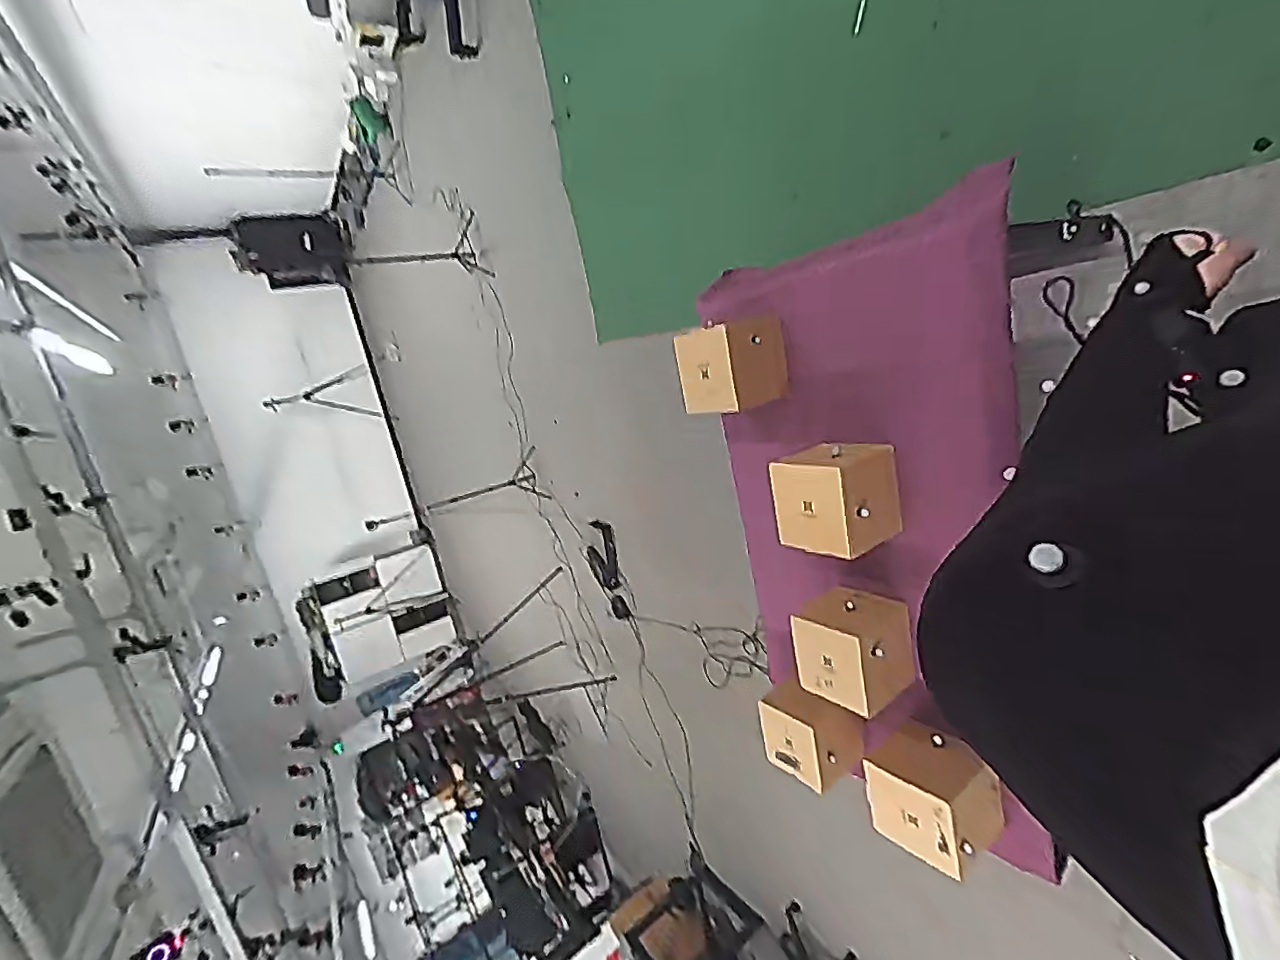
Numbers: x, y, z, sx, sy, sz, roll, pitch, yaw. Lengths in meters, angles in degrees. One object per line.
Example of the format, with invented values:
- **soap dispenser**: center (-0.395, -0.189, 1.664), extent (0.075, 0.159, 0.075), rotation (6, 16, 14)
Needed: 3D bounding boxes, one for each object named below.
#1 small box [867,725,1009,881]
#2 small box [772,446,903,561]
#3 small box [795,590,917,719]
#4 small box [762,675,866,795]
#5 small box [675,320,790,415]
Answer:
- **small box**: center (0.584, 0.617, 1.063), extent (0.179, 0.176, 0.168), rotation (4, 111, 58)
- **small box**: center (0.388, 0.034, 1.058), extent (0.168, 0.176, 0.179), rotation (6, 113, 55)
- **small box**: center (0.451, 0.351, 1.128), extent (0.168, 0.176, 0.179), rotation (6, 112, 56)
- **small box**: center (0.424, 0.602, 1.306), extent (0.168, 0.176, 0.179), rotation (5, 110, 56)
- **small box**: center (0.205, -0.246, 1.181), extent (0.168, 0.176, 0.179), rotation (7, 113, 54)
